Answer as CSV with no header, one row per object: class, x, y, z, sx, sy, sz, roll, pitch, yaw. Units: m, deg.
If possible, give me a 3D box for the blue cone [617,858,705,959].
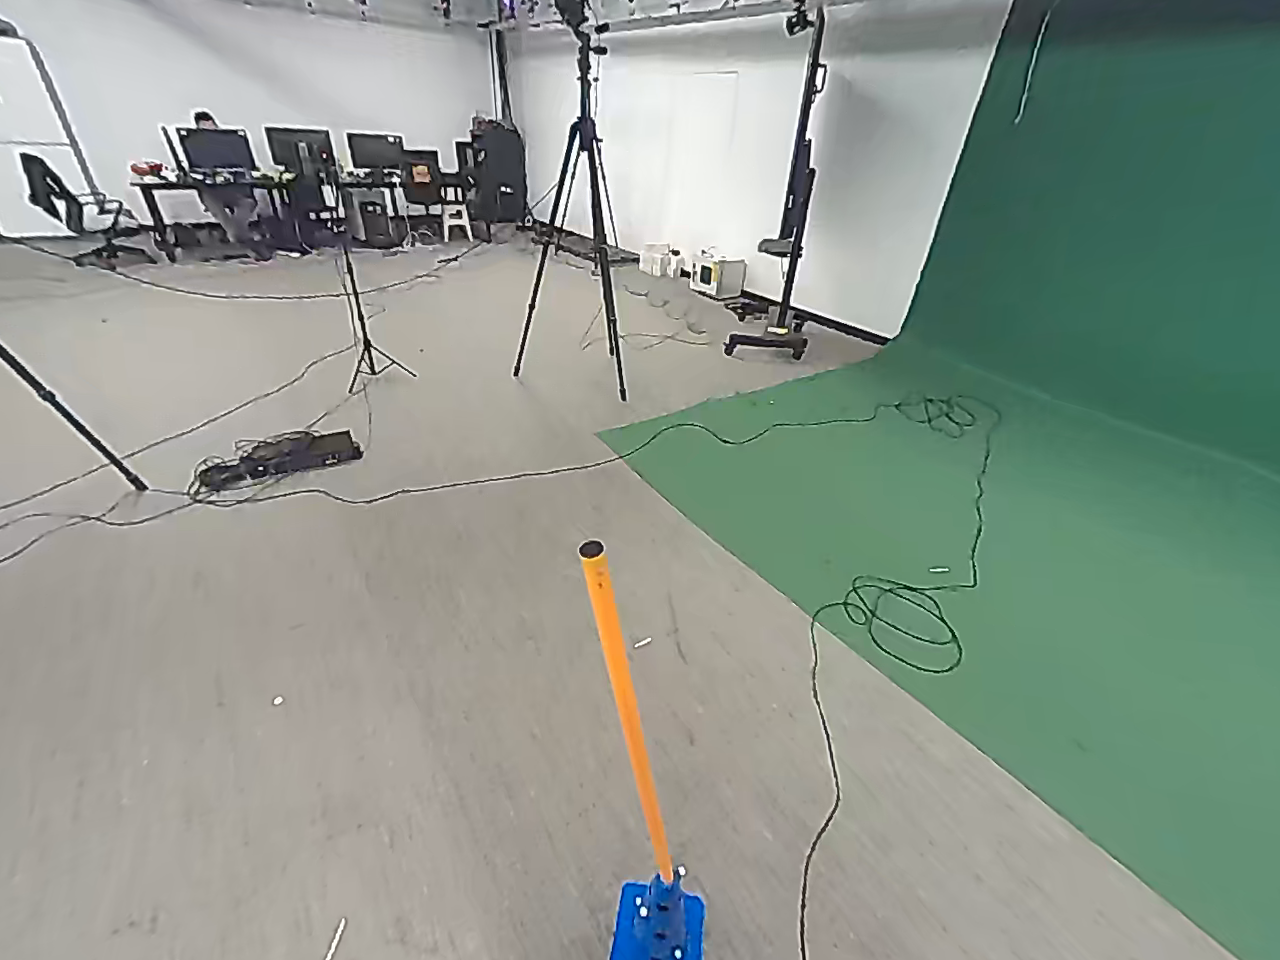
blue cone,0.050,0.884,1.104,0.193,0.380,0.192,6,35,6
